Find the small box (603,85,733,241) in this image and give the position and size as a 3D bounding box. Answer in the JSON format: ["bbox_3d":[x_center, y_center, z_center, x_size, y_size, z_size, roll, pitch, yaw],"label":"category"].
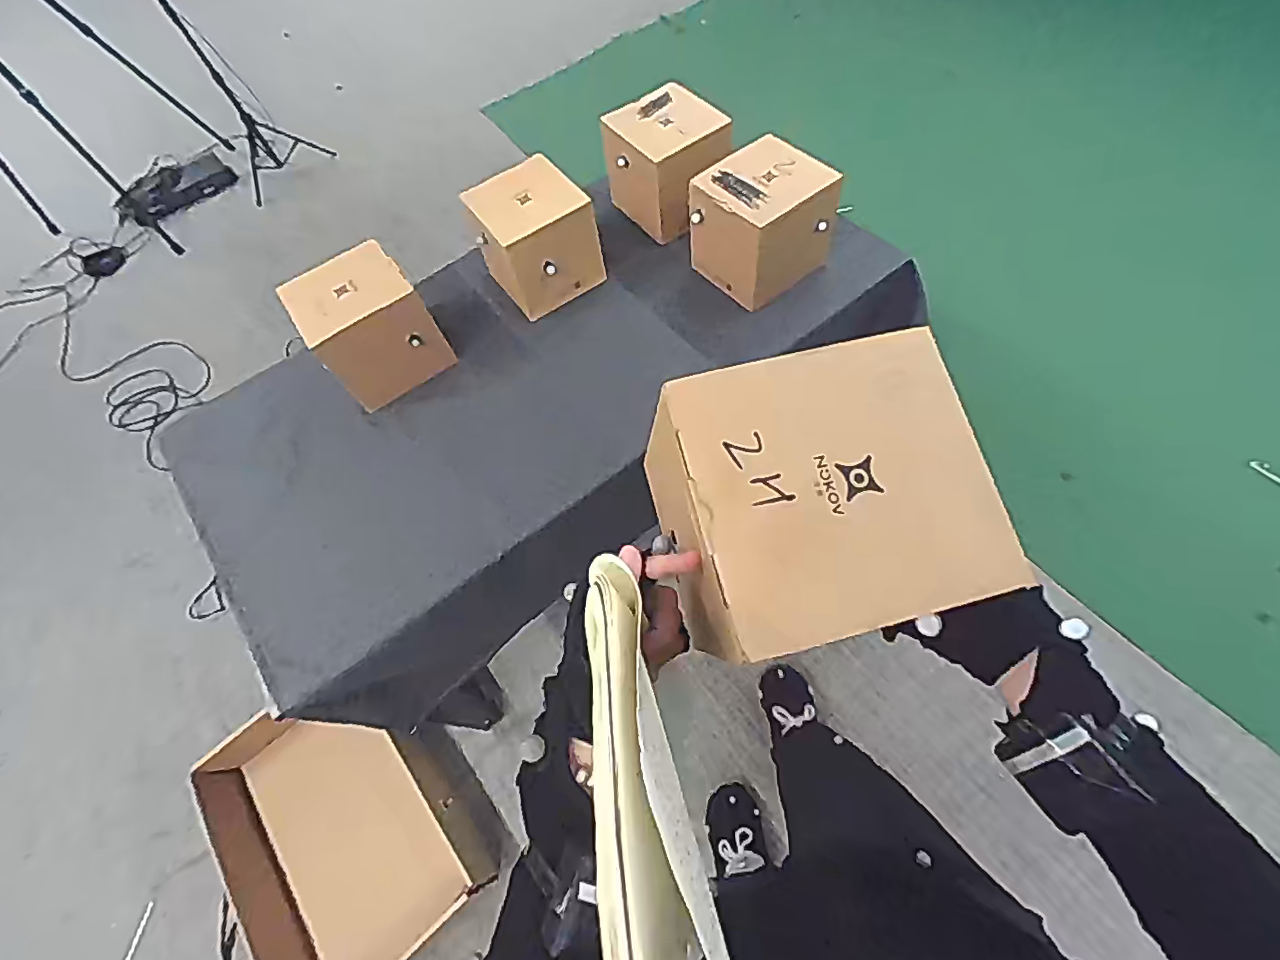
[{"bbox_3d":[0.053,-0.588,1.015,0.168,0.176,0.179,-34,64,-10],"label":"small box"}]

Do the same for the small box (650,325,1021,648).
[{"bbox_3d":[0.112,0.015,0.392,0.179,0.176,0.168,-13,76,-5],"label":"small box"}]

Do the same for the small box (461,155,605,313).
[{"bbox_3d":[-0.180,-0.425,0.961,0.168,0.176,0.179,-34,63,-11],"label":"small box"}]

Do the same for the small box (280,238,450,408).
[{"bbox_3d":[-0.442,-0.257,0.900,0.179,0.176,0.168,-34,64,-12],"label":"small box"}]
